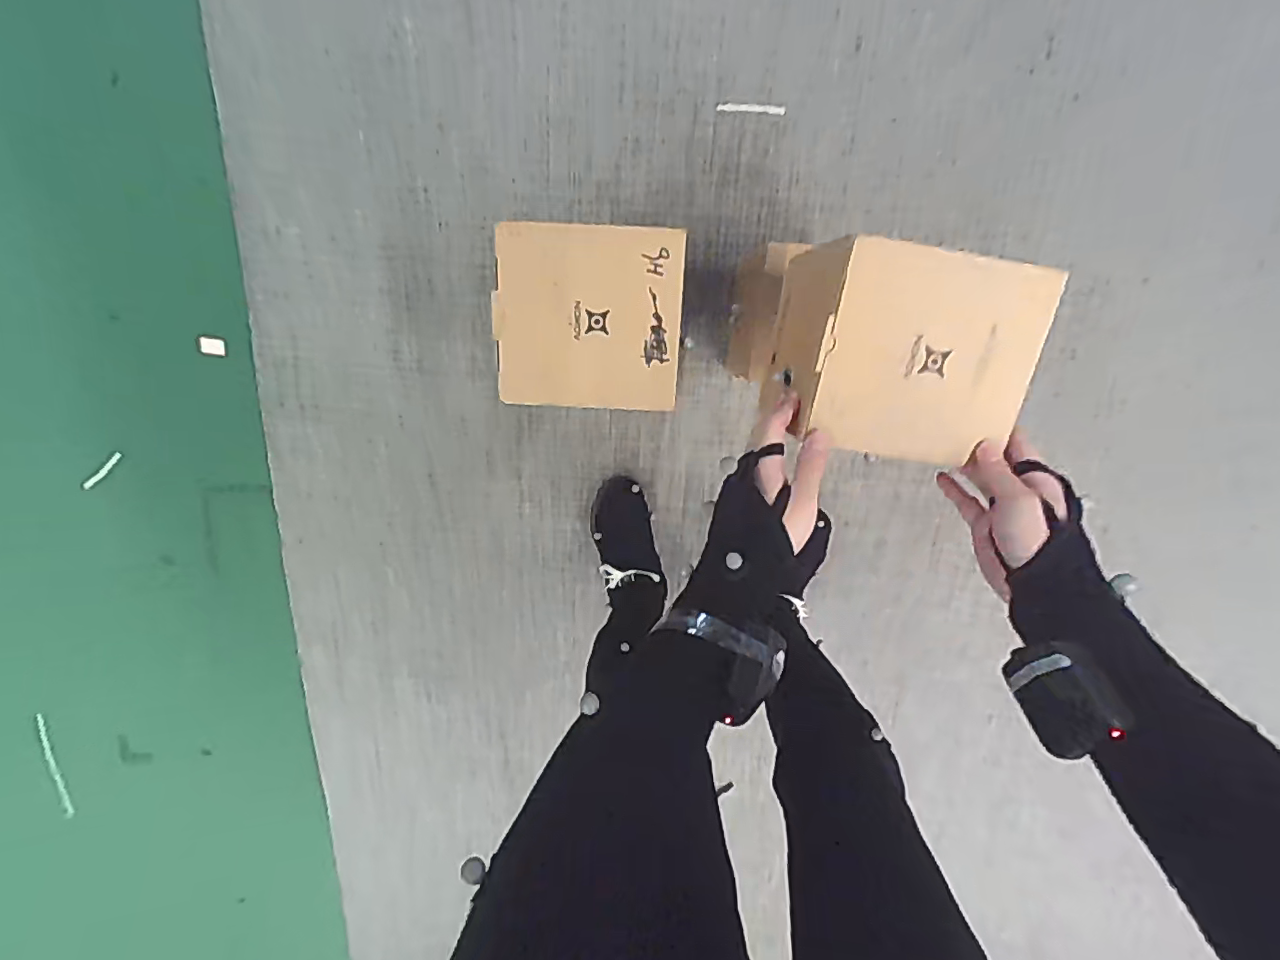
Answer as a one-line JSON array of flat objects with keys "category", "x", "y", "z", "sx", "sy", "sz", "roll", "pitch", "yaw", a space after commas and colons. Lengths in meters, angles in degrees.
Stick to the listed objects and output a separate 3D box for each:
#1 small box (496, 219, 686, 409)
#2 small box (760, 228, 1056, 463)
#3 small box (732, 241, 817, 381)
[{"category": "small box", "x": -0.045, "y": -0.176, "z": 0.588, "sx": 0.179, "sy": 0.176, "sz": 0.168, "roll": 3, "pitch": 107, "yaw": 1}, {"category": "small box", "x": 0.227, "y": -0.126, "z": 0.516, "sx": 0.179, "sy": 0.176, "sz": 0.168, "roll": 8, "pitch": 107, "yaw": -4}, {"category": "small box", "x": 0.231, "y": -0.218, "z": 0.732, "sx": 0.179, "sy": 0.176, "sz": 0.168, "roll": 6, "pitch": 107, "yaw": 1}]
